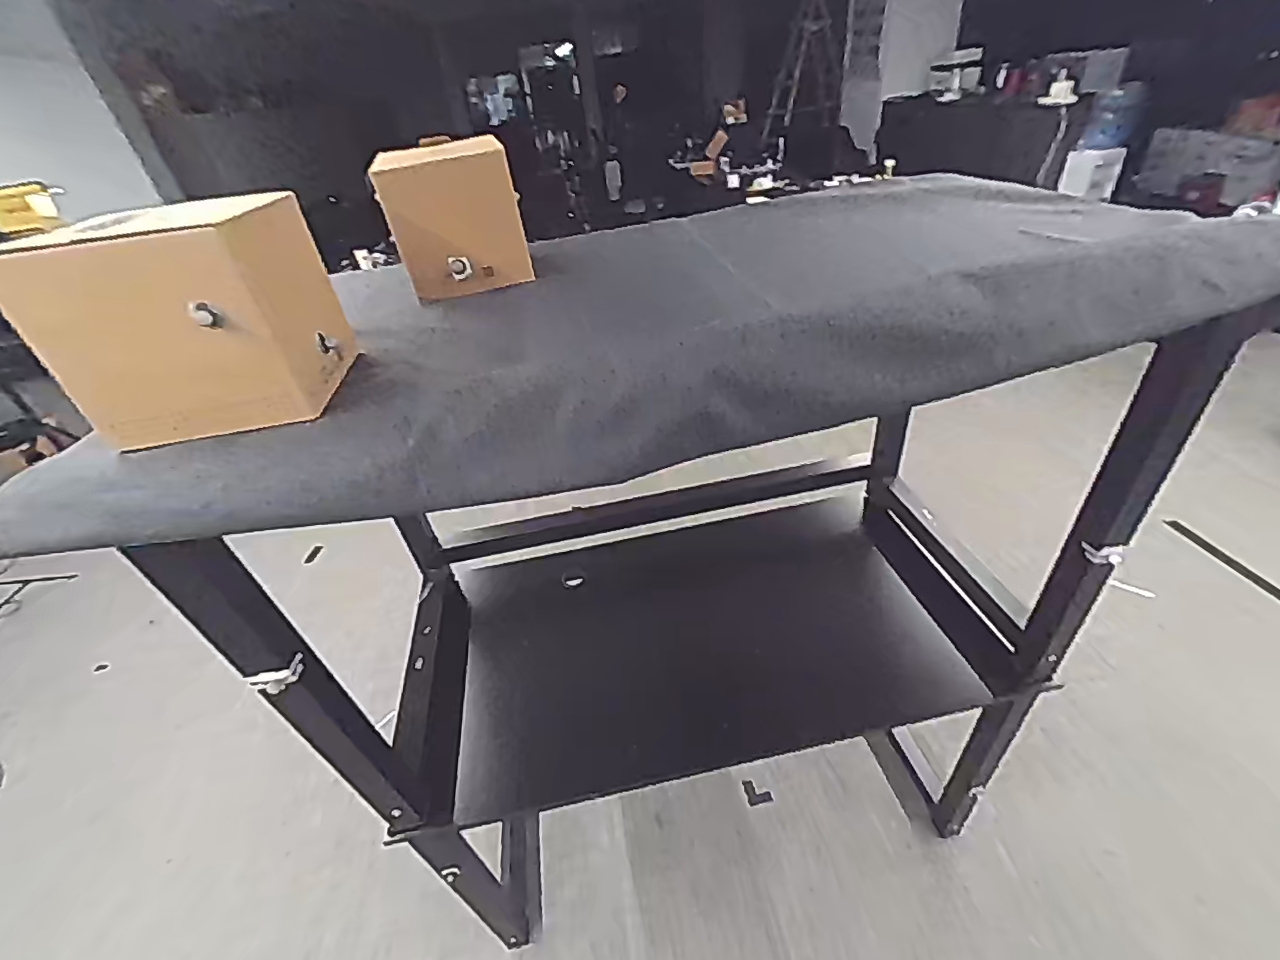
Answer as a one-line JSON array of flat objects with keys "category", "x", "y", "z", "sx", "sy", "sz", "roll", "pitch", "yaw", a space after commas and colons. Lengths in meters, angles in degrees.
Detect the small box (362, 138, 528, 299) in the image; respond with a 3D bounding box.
[{"category": "small box", "x": -0.267, "y": -0.372, "z": 0.767, "sx": 0.168, "sy": 0.176, "sz": 0.179, "roll": -17, "pitch": 37, "yaw": -9}]
